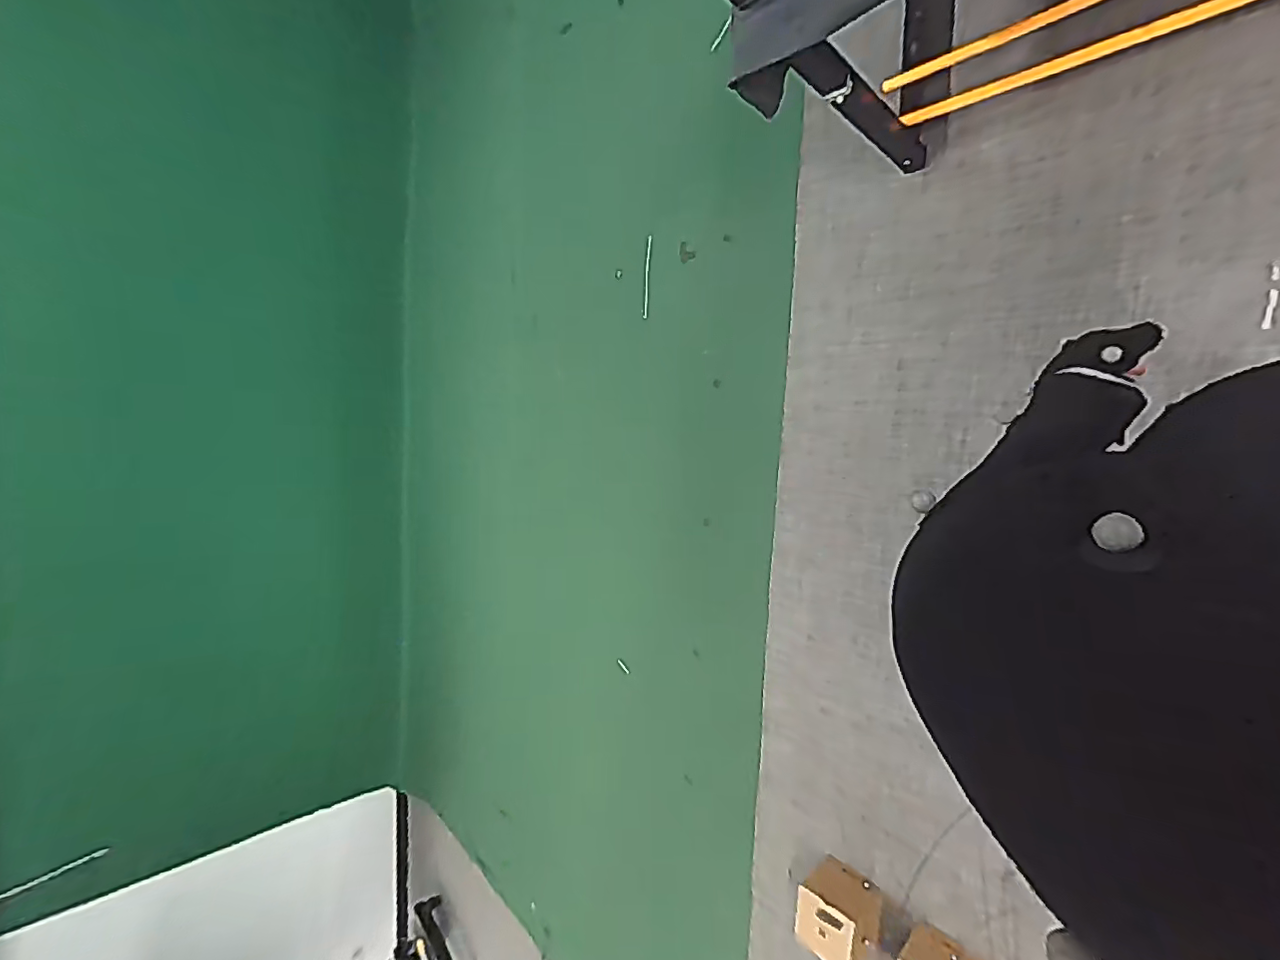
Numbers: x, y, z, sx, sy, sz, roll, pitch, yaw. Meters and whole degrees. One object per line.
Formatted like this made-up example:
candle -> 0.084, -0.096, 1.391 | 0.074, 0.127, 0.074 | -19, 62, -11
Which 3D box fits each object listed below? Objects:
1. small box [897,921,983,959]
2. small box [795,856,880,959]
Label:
small box -> 0.748, 1.272, 1.346 | 0.168, 0.176, 0.179 | 11, 99, 46
small box -> 0.564, 1.226, 1.537 | 0.168, 0.176, 0.179 | 10, 99, 46
